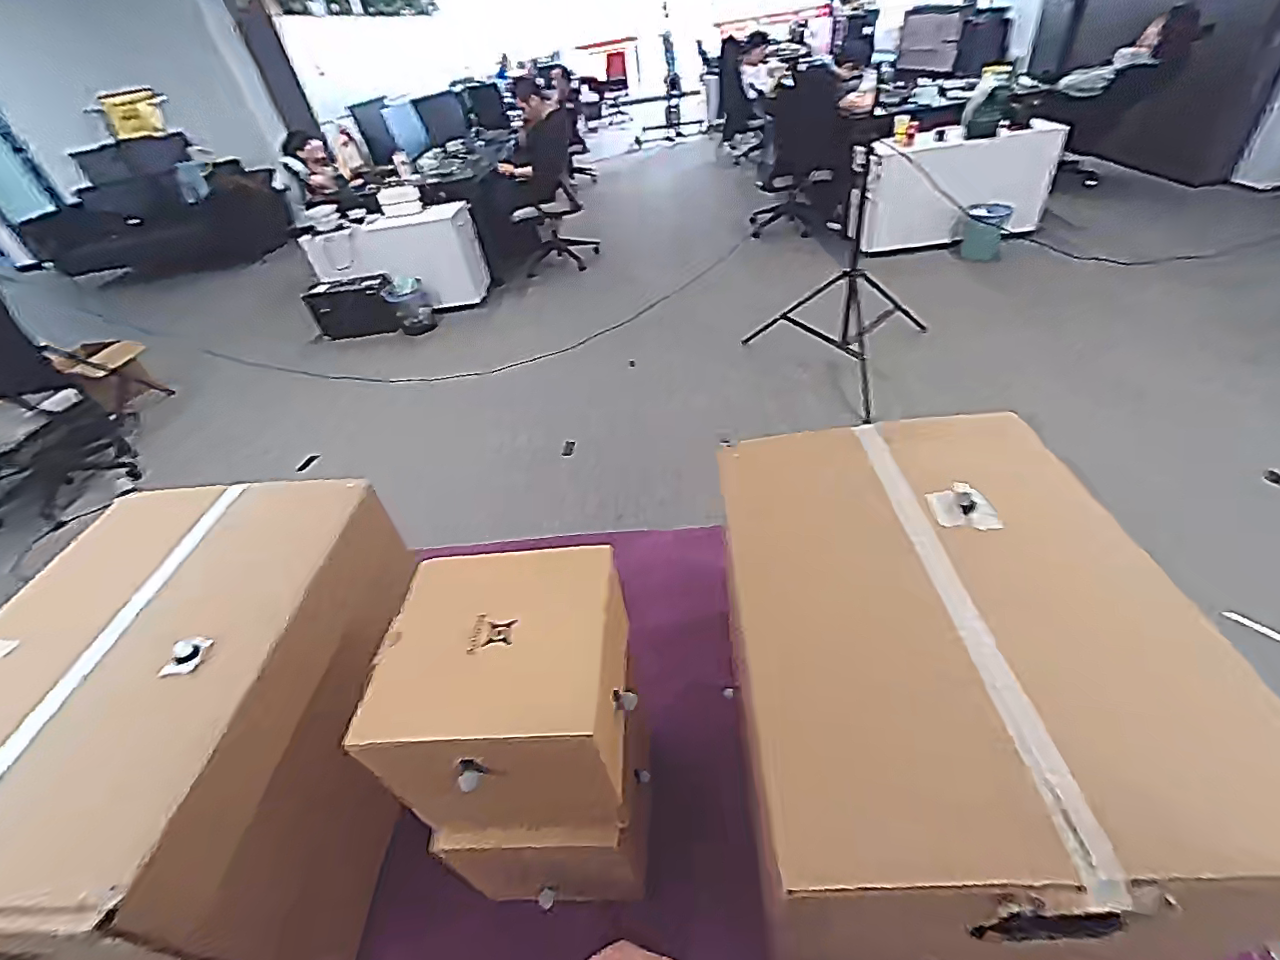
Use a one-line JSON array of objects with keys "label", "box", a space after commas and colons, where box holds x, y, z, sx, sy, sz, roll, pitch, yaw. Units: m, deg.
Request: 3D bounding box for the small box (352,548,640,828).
[{"label": "small box", "box": [-0.096, 0.180, 0.467, 0.179, 0.176, 0.168, -6, 40, 7]}]

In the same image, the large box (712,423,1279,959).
[{"label": "large box", "box": [0.253, 0.196, 0.520, 0.320, 0.320, 0.408, -6, 39, 5]}]
